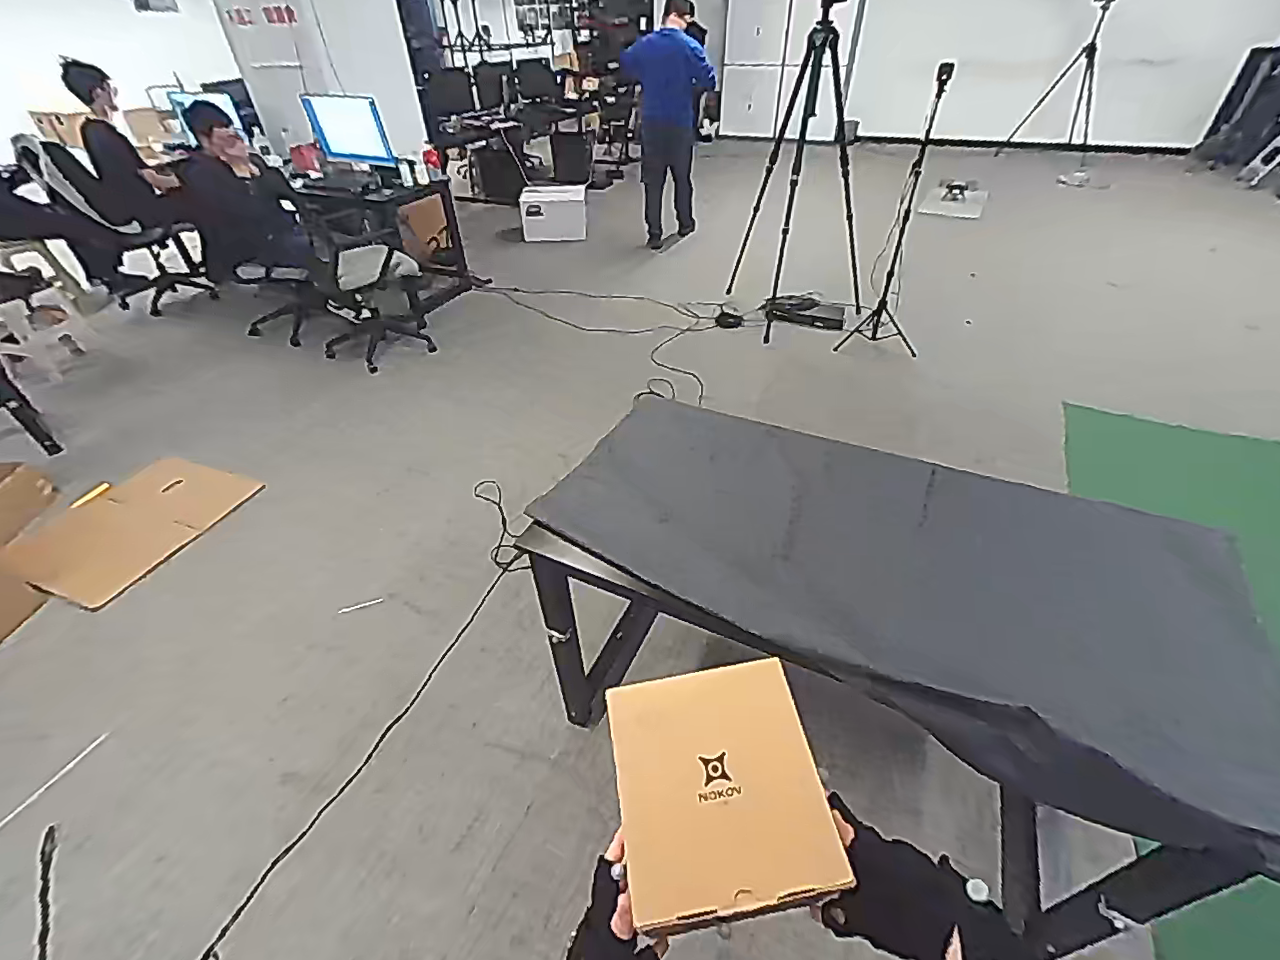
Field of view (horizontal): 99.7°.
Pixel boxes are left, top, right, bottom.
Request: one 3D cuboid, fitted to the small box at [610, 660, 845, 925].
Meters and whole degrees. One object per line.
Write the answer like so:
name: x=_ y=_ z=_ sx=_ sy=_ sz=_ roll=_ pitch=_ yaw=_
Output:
small box: x=0.065 y=0.298 z=0.515 sx=0.168 sy=0.176 sz=0.179 roll=-9 pitch=50 yaw=-3
